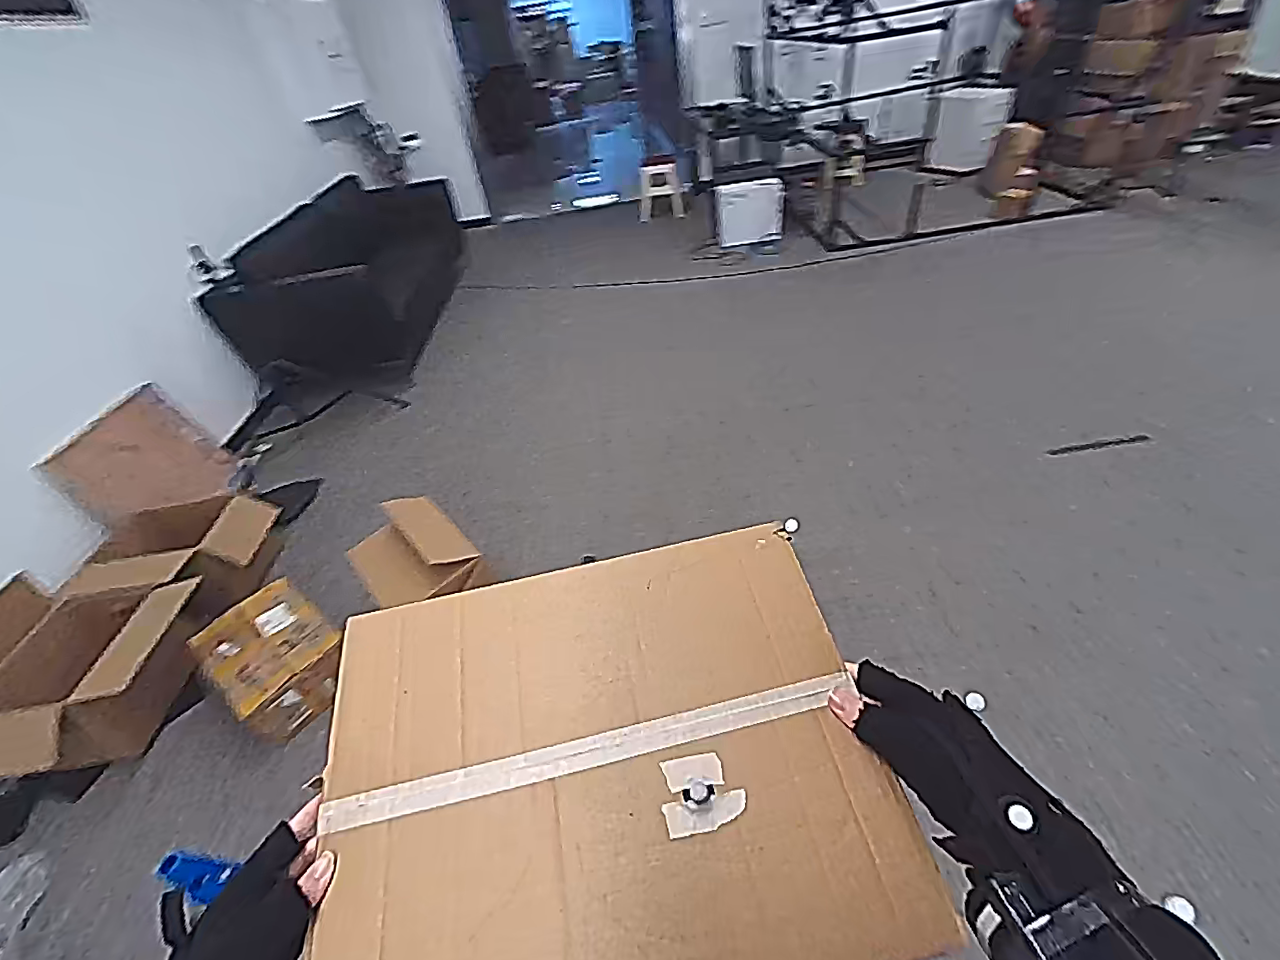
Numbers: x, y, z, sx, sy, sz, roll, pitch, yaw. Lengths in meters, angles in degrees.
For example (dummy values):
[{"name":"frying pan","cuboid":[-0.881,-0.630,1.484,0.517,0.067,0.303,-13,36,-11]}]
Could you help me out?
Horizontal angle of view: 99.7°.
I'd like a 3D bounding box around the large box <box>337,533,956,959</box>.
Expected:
[{"name":"large box","cuboid":[-0.012,0.300,0.533,0.408,0.320,0.320,-12,53,-4]}]
